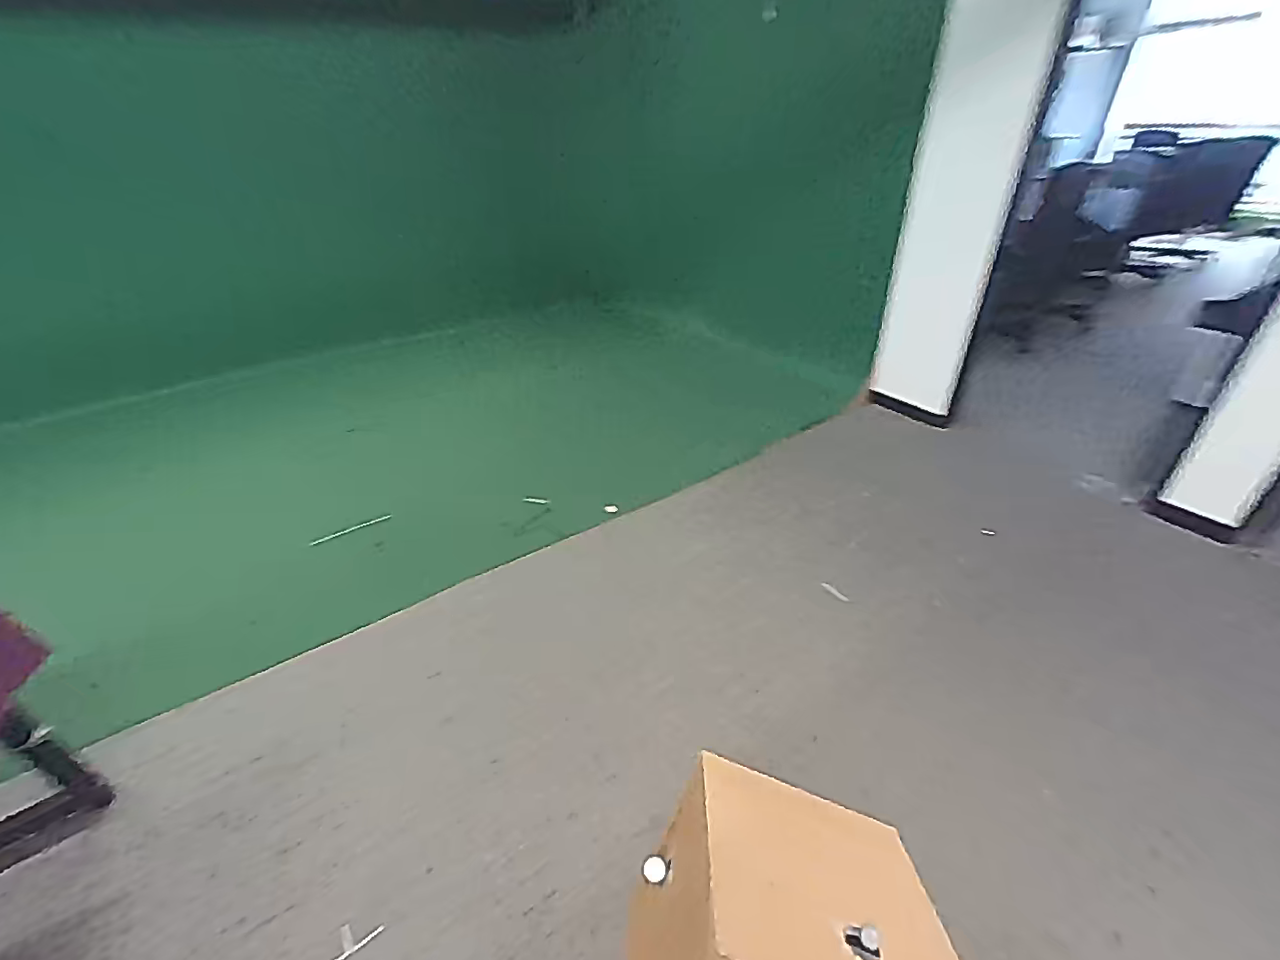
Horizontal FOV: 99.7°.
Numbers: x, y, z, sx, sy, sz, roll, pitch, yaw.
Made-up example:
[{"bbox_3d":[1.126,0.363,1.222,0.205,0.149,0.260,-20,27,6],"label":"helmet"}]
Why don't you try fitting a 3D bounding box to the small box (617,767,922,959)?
[{"bbox_3d":[0.088,0.350,0.393,0.179,0.168,0.176,22,10,0],"label":"small box"}]
